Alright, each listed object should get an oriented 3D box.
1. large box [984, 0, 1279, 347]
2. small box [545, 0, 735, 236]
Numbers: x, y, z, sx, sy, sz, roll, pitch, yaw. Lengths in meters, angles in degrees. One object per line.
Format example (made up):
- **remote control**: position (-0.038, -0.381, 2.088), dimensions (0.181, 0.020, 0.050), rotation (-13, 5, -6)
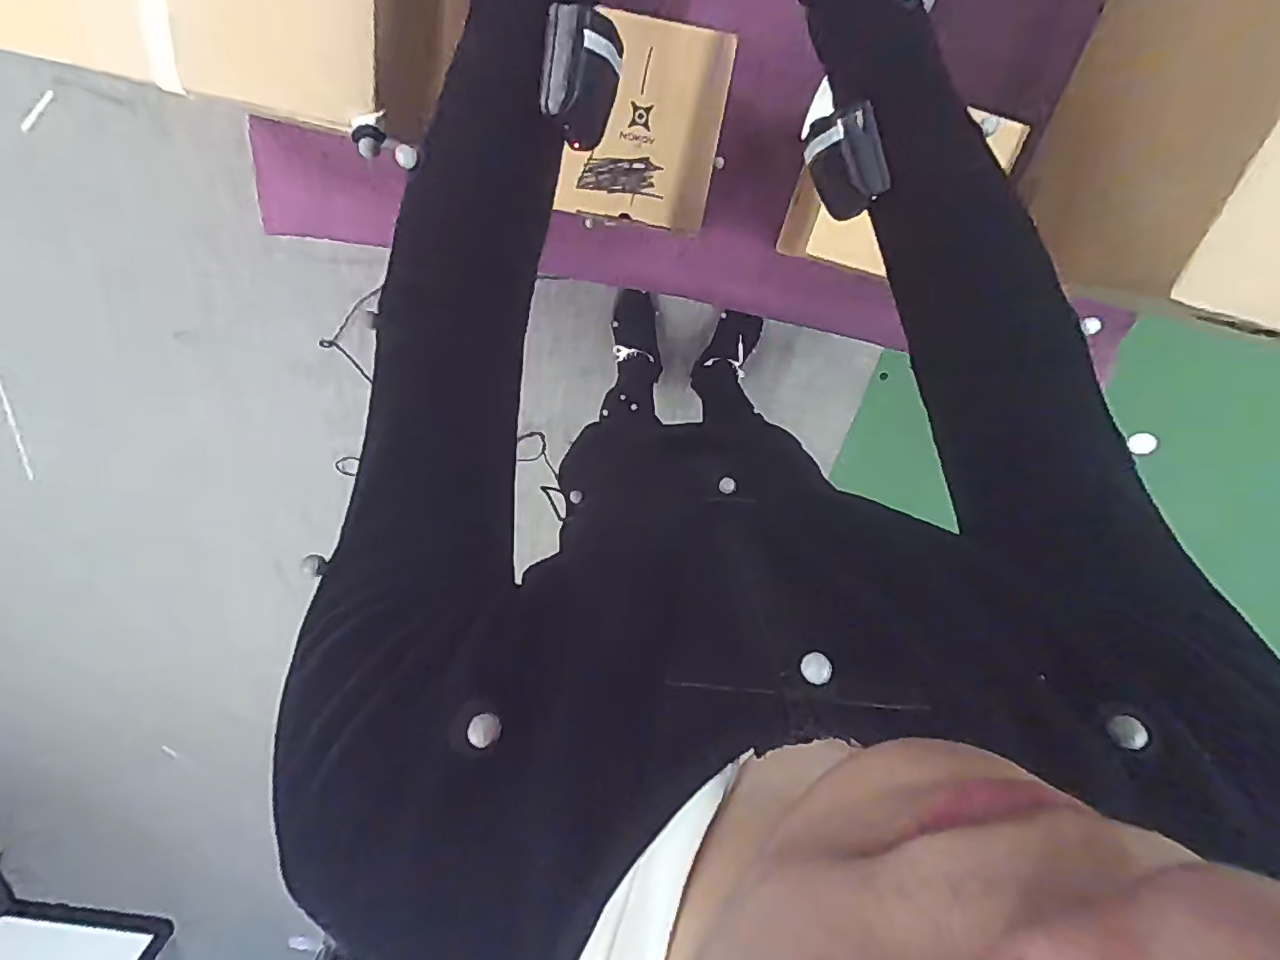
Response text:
- **large box**: position (0.644, -0.360, 0.526), dimensions (0.320, 0.320, 0.408), rotation (13, 116, -3)
- **small box**: position (-0.003, -0.384, 0.606), dimensions (0.168, 0.176, 0.179), rotation (10, 114, -3)
